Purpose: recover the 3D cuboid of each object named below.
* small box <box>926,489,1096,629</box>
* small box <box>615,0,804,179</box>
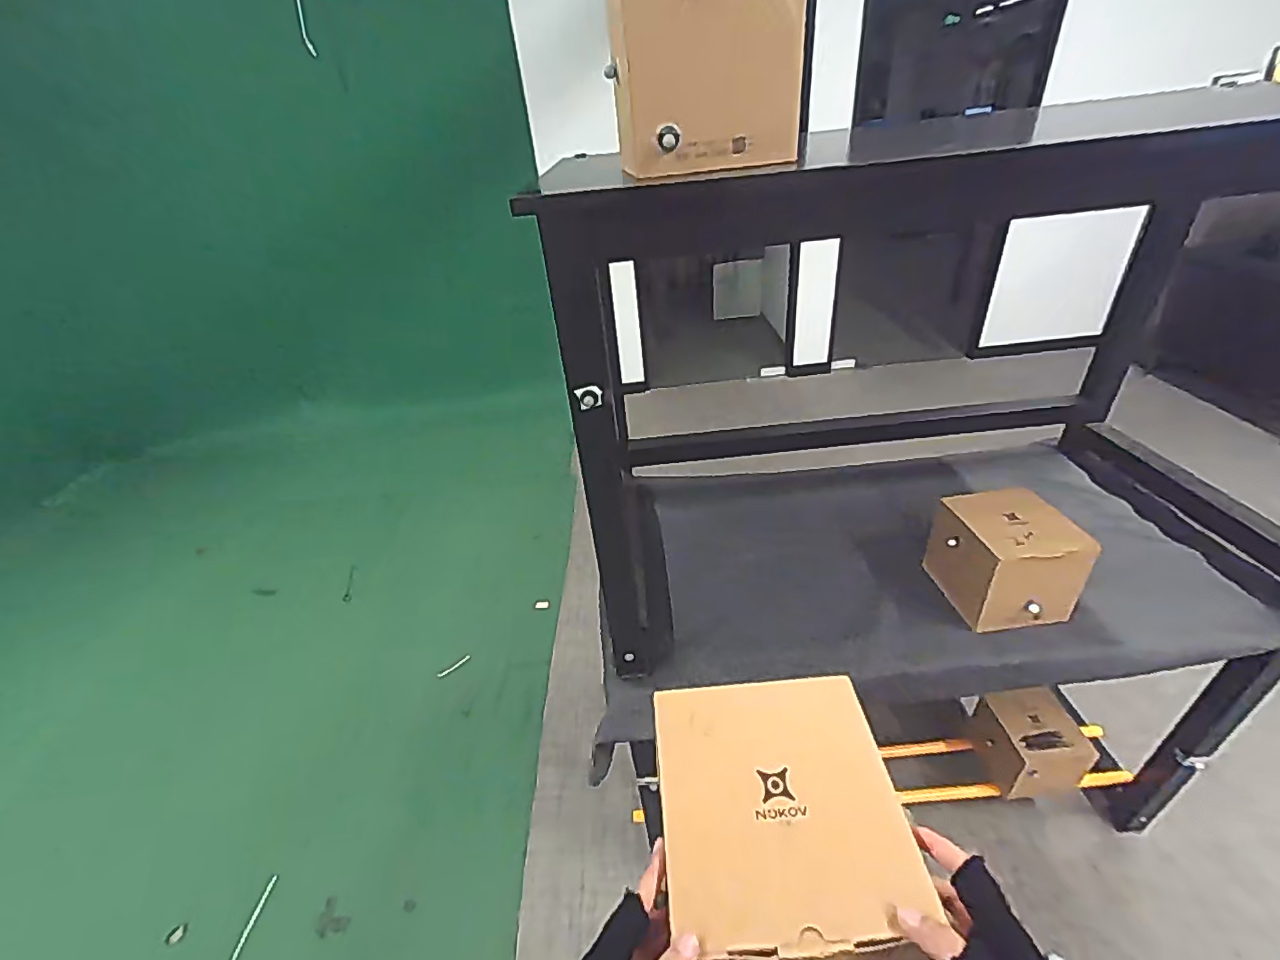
[{"bbox_3d":[0.640,0.138,0.964,0.168,0.176,0.179,-7,32,-1],"label":"small box"},{"bbox_3d":[0.068,-0.425,0.578,0.168,0.176,0.179,-8,33,-3],"label":"small box"}]
